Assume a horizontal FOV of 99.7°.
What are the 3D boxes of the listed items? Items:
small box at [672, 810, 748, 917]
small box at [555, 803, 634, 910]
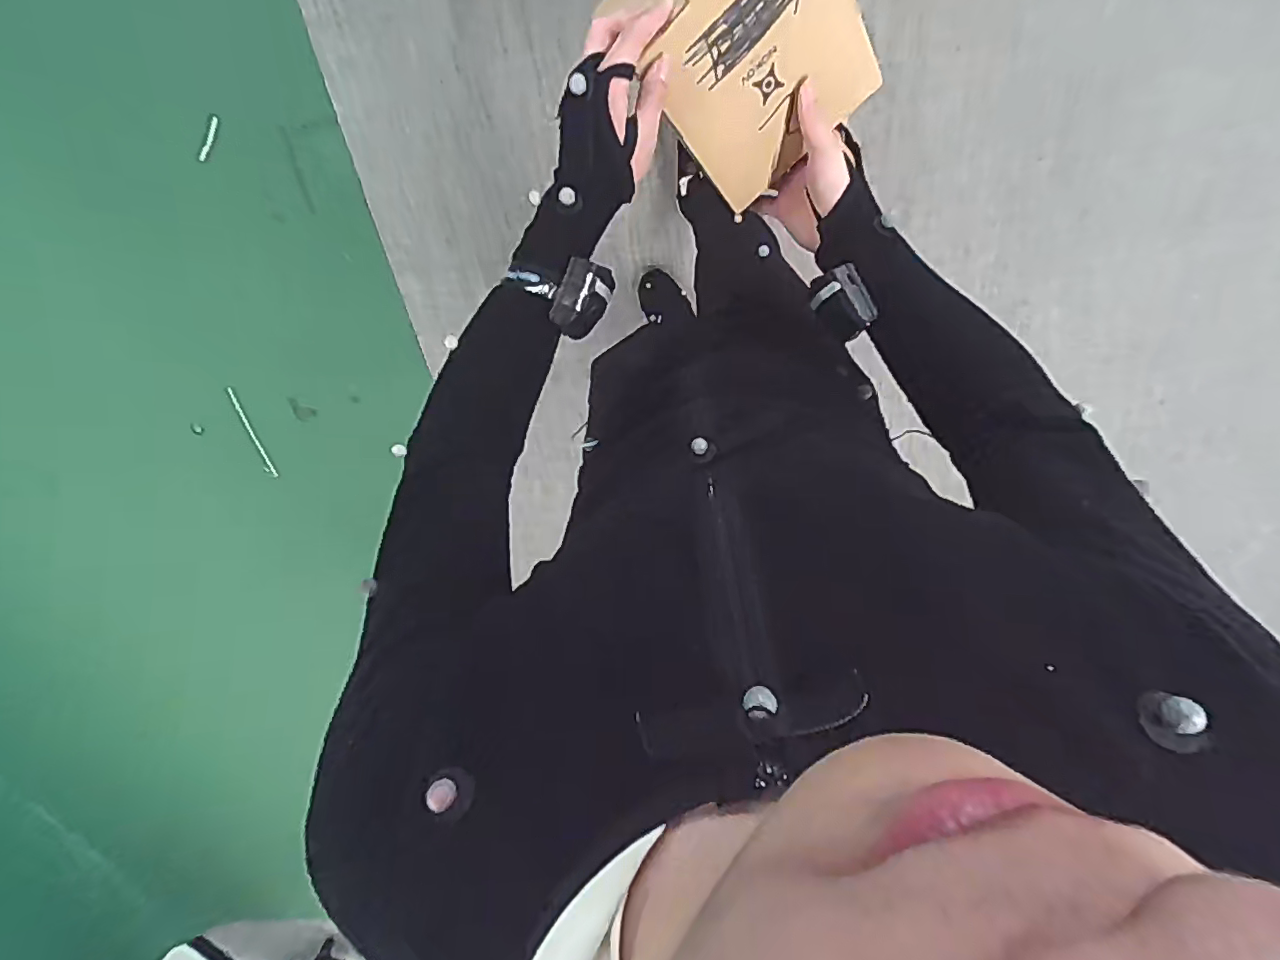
[{"bbox_3d":[0.175,0.959,1.355,0.168,0.176,0.179,-8,119,8],"label":"small box"},{"bbox_3d":[-0.110,0.950,1.372,0.179,0.176,0.168,1,120,2],"label":"small box"}]
